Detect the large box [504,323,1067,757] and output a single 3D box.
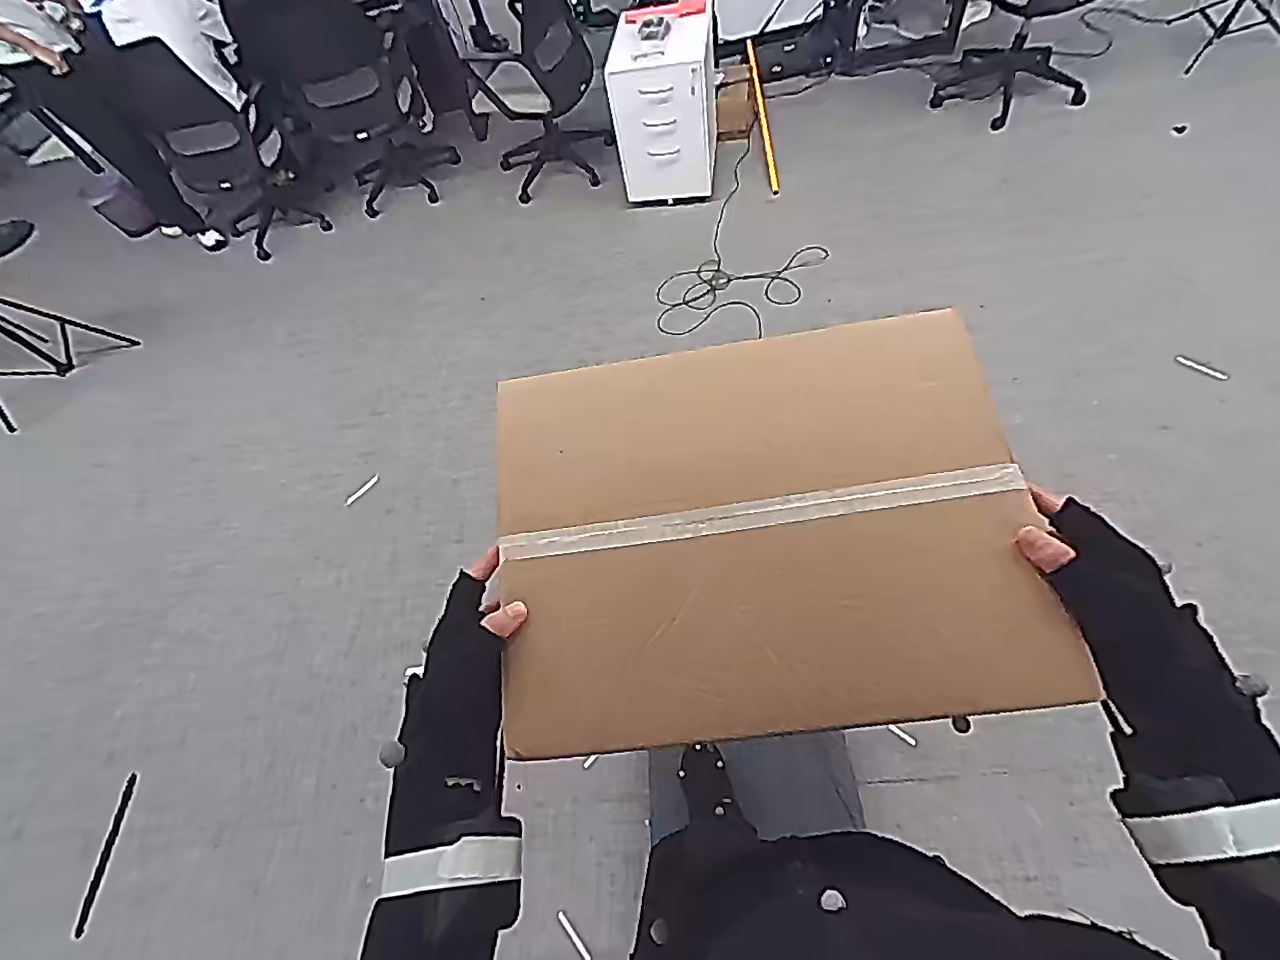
[{"bbox_3d":[0.106,0.082,0.578,0.408,0.320,0.320,-9,69,5],"label":"large box"}]
